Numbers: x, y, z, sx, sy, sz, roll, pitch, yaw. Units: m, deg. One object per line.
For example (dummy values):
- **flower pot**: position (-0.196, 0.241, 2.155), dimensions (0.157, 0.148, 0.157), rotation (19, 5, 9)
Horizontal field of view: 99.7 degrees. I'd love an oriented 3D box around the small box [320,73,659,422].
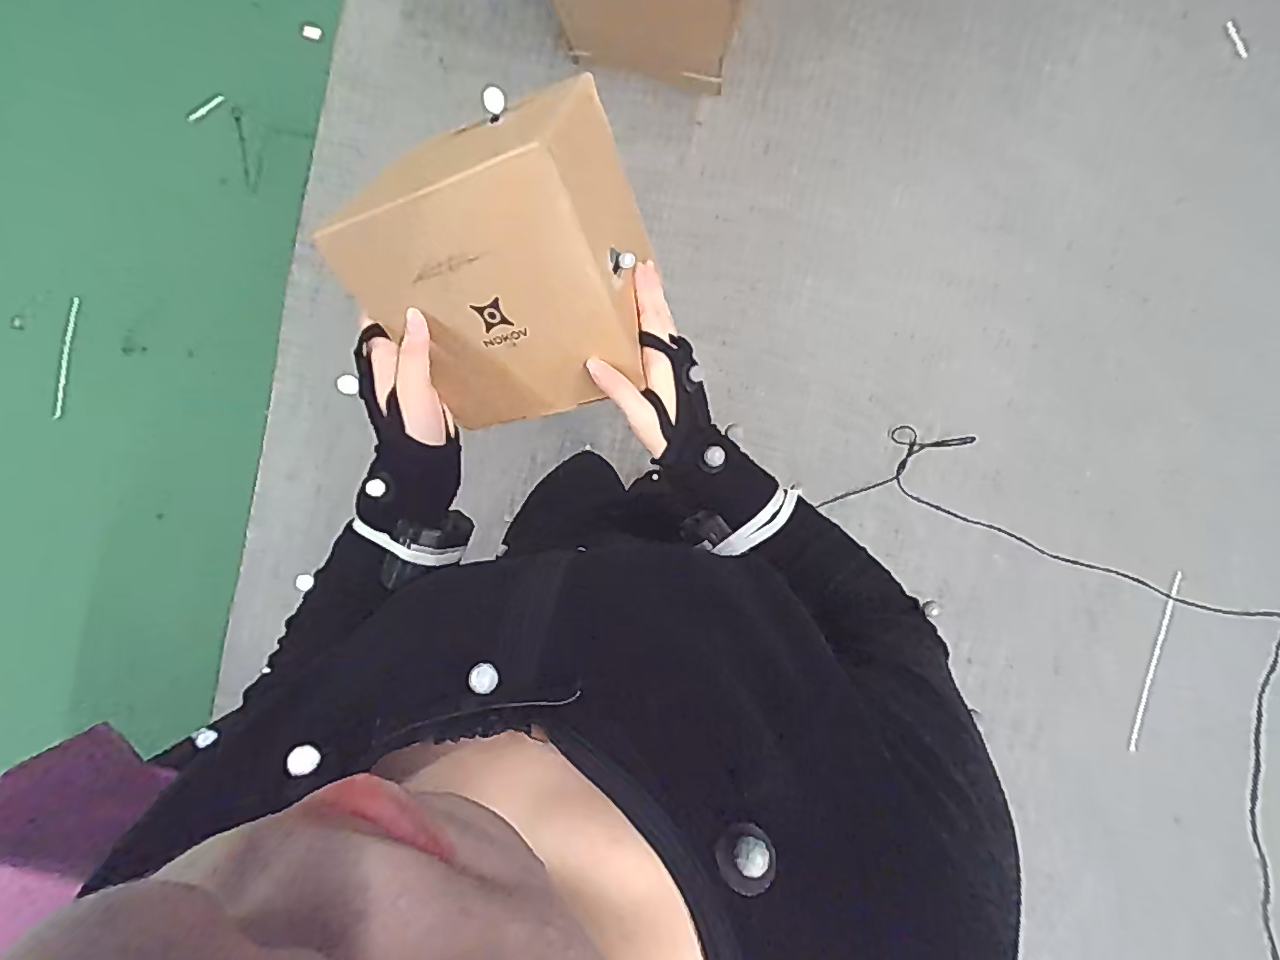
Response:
- **small box**: position (-0.089, -0.174, 0.424), dimensions (0.168, 0.176, 0.179), rotation (-9, 135, 18)
